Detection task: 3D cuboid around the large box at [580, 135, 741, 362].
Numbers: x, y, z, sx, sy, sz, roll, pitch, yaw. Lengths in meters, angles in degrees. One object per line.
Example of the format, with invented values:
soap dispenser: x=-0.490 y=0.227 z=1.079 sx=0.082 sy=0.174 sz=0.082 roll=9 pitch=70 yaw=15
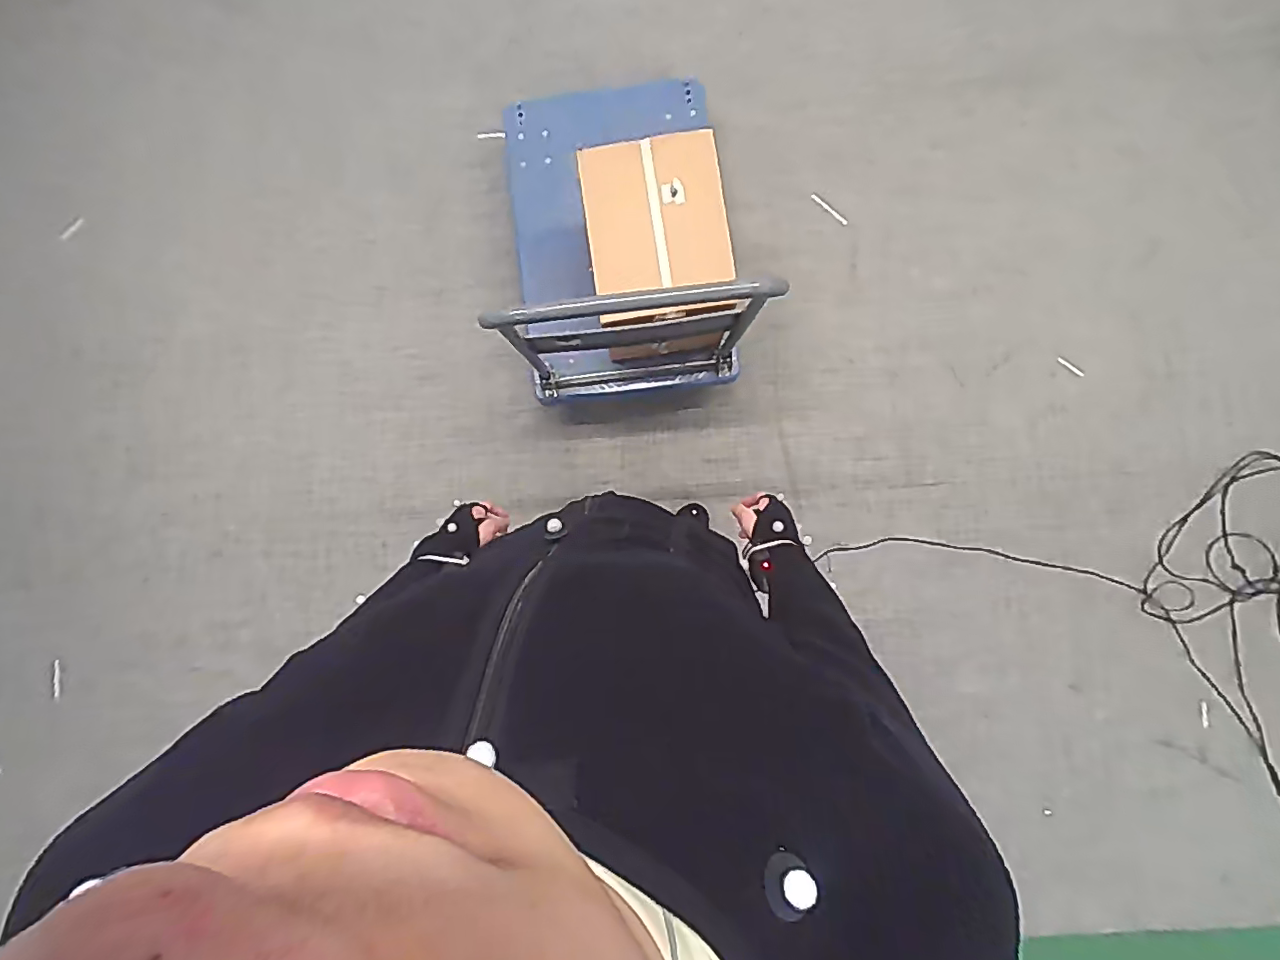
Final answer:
large box: x=0.049 y=-0.551 z=1.358 sx=0.320 sy=0.320 sz=0.408 roll=-8 pitch=86 yaw=0
